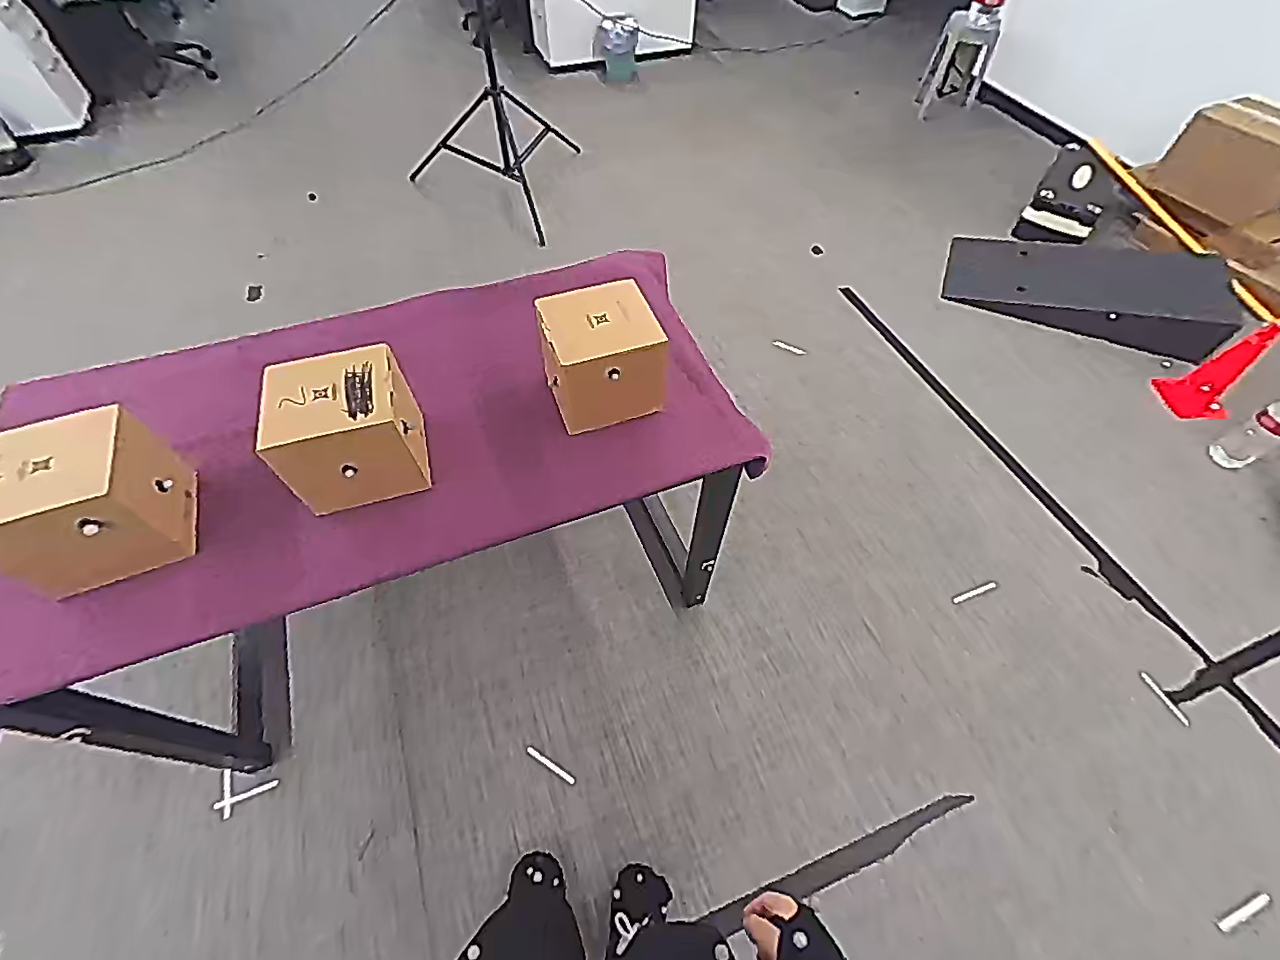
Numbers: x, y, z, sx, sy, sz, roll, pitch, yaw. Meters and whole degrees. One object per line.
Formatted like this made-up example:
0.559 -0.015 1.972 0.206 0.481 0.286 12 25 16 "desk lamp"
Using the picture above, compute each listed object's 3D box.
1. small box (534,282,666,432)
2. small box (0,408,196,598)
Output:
-0.067 -0.205 0.926 0.179 0.176 0.168 -16 58 -13 "small box"
-0.757 0.035 0.744 0.179 0.176 0.168 -20 57 -14 "small box"
